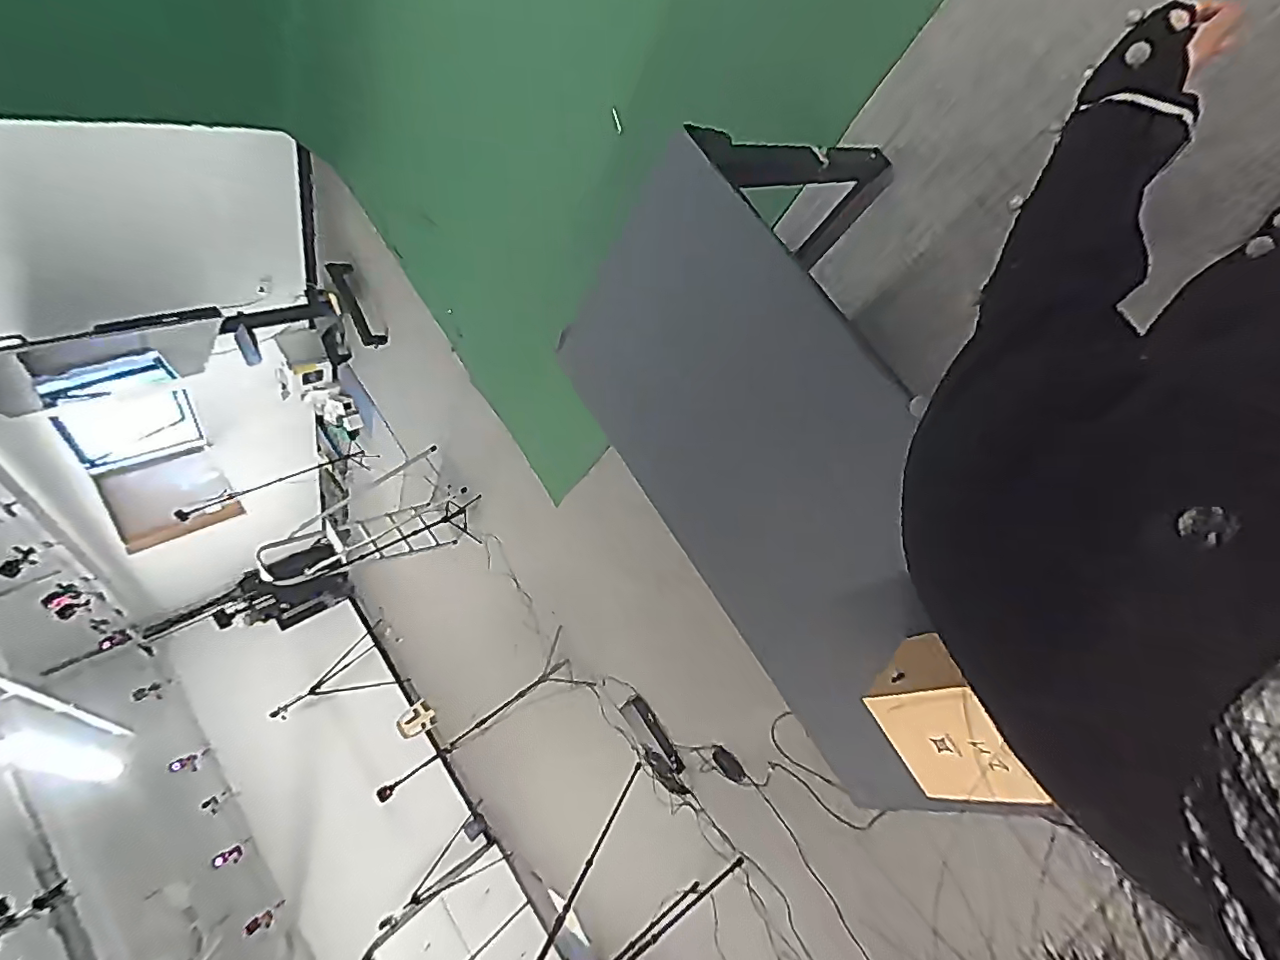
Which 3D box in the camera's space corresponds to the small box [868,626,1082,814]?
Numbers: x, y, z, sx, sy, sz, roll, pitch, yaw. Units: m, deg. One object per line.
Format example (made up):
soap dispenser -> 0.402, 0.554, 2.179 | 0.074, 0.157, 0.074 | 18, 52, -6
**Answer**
small box -> 0.470, 0.331, 0.761 | 0.168, 0.176, 0.179 | 56, 141, 7
